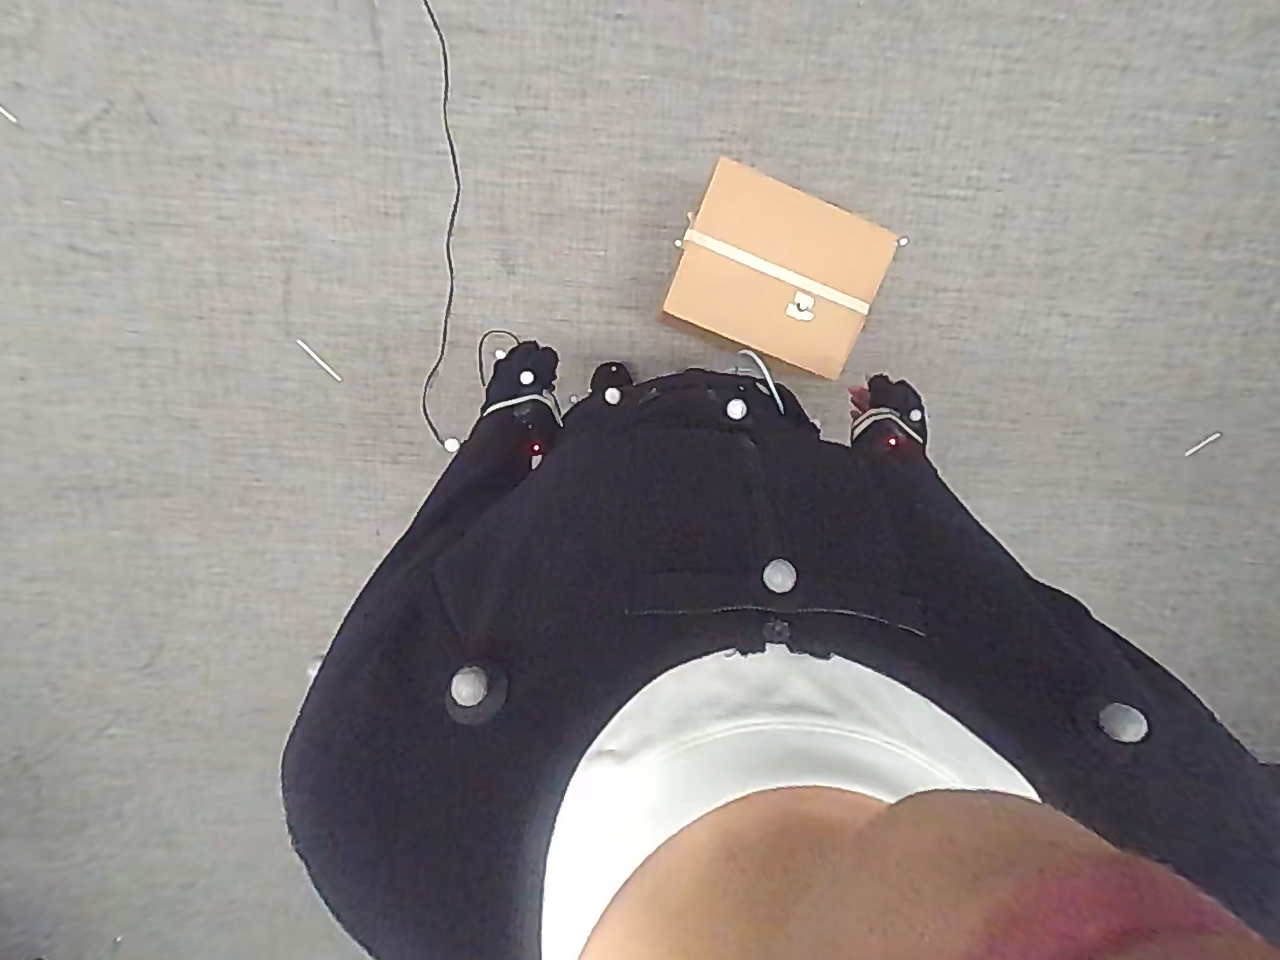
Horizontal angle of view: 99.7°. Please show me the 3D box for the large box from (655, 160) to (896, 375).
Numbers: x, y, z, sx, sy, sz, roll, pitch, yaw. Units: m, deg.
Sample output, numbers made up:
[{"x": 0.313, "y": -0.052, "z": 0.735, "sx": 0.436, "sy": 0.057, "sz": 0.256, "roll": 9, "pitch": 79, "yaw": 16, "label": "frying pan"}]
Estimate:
[{"x": 0.278, "y": -0.457, "z": 1.249, "sx": 0.408, "sy": 0.320, "sz": 0.320, "roll": 20, "pitch": 102, "yaw": -7, "label": "large box"}]
